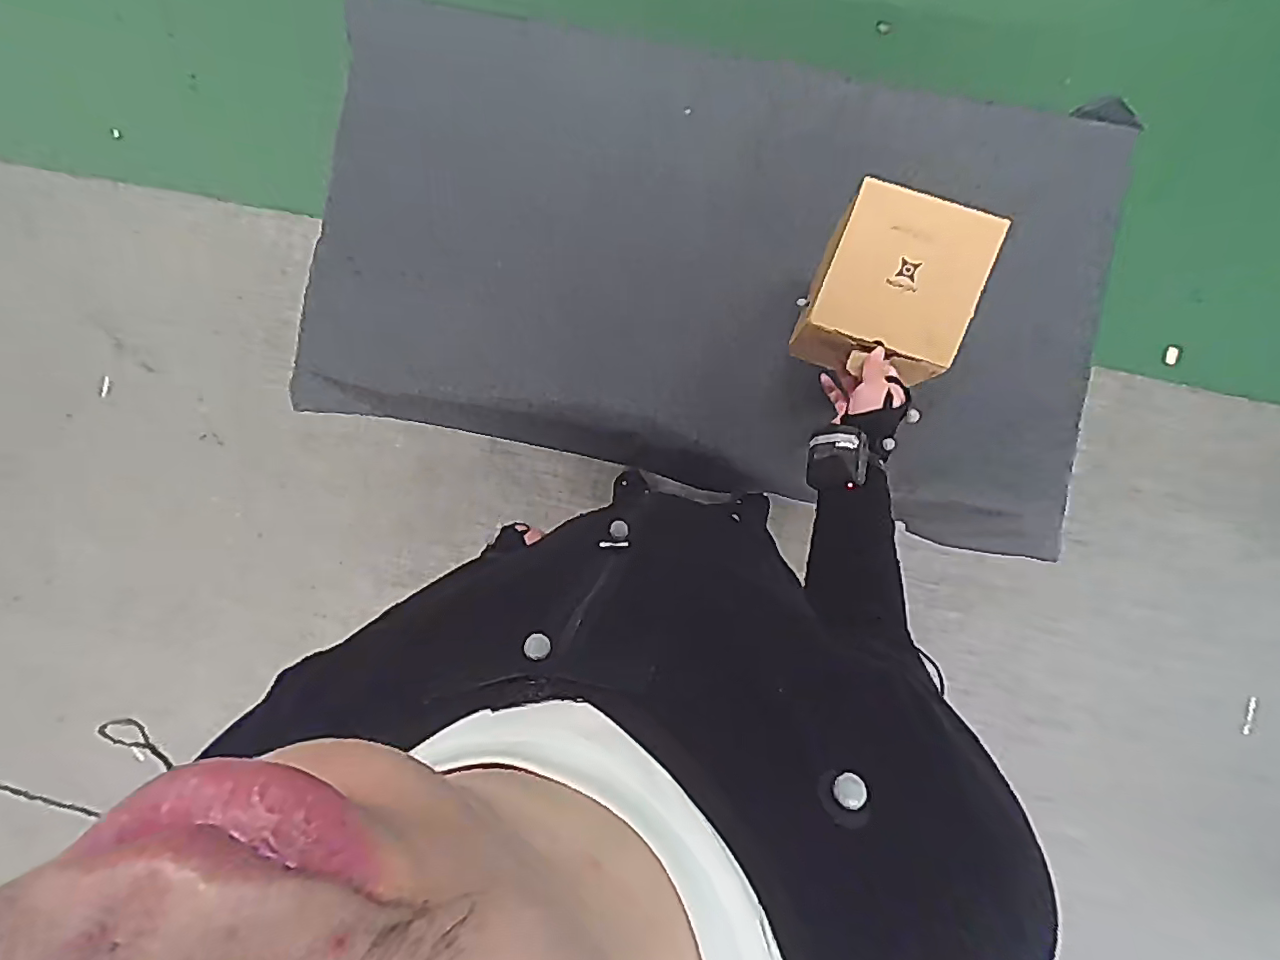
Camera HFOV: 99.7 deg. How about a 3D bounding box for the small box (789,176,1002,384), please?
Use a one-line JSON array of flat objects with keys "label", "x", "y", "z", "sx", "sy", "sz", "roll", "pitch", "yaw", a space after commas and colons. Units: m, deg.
[{"label": "small box", "x": 0.301, "y": -0.234, "z": 0.683, "sx": 0.168, "sy": 0.176, "sz": 0.179, "roll": 21, "pitch": 93, "yaw": 4}]
